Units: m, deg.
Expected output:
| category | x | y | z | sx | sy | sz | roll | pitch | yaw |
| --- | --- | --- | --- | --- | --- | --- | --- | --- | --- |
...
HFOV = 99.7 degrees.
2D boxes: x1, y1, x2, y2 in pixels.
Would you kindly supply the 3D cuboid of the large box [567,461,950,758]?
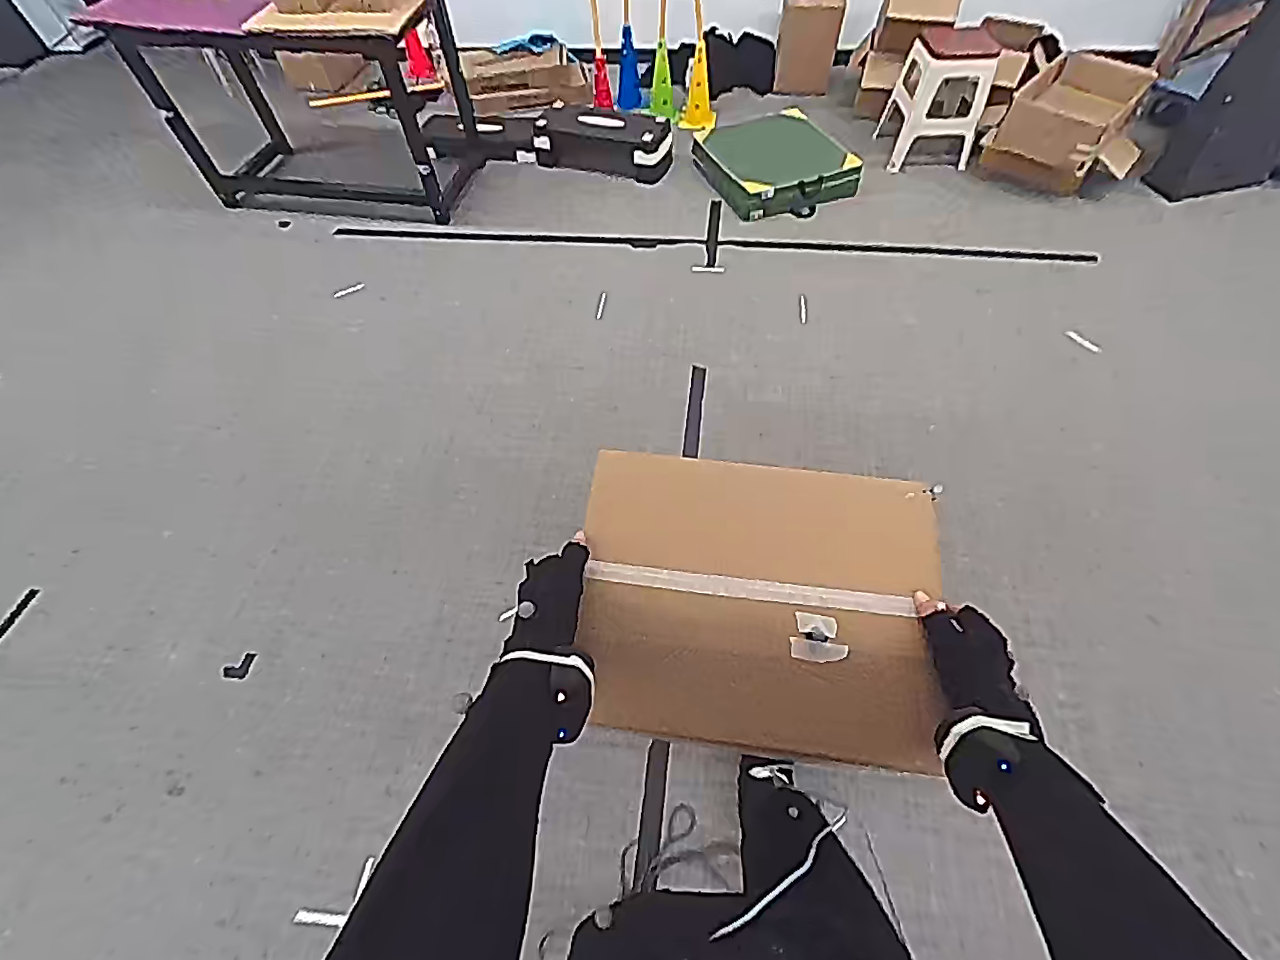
| category | x | y | z | sx | sy | sz | roll | pitch | yaw |
| --- | --- | --- | --- | --- | --- | --- | --- | --- | --- |
| large box | 0.136 | 0.194 | 0.755 | 0.408 | 0.320 | 0.320 | 6 | 64 | 4 |
